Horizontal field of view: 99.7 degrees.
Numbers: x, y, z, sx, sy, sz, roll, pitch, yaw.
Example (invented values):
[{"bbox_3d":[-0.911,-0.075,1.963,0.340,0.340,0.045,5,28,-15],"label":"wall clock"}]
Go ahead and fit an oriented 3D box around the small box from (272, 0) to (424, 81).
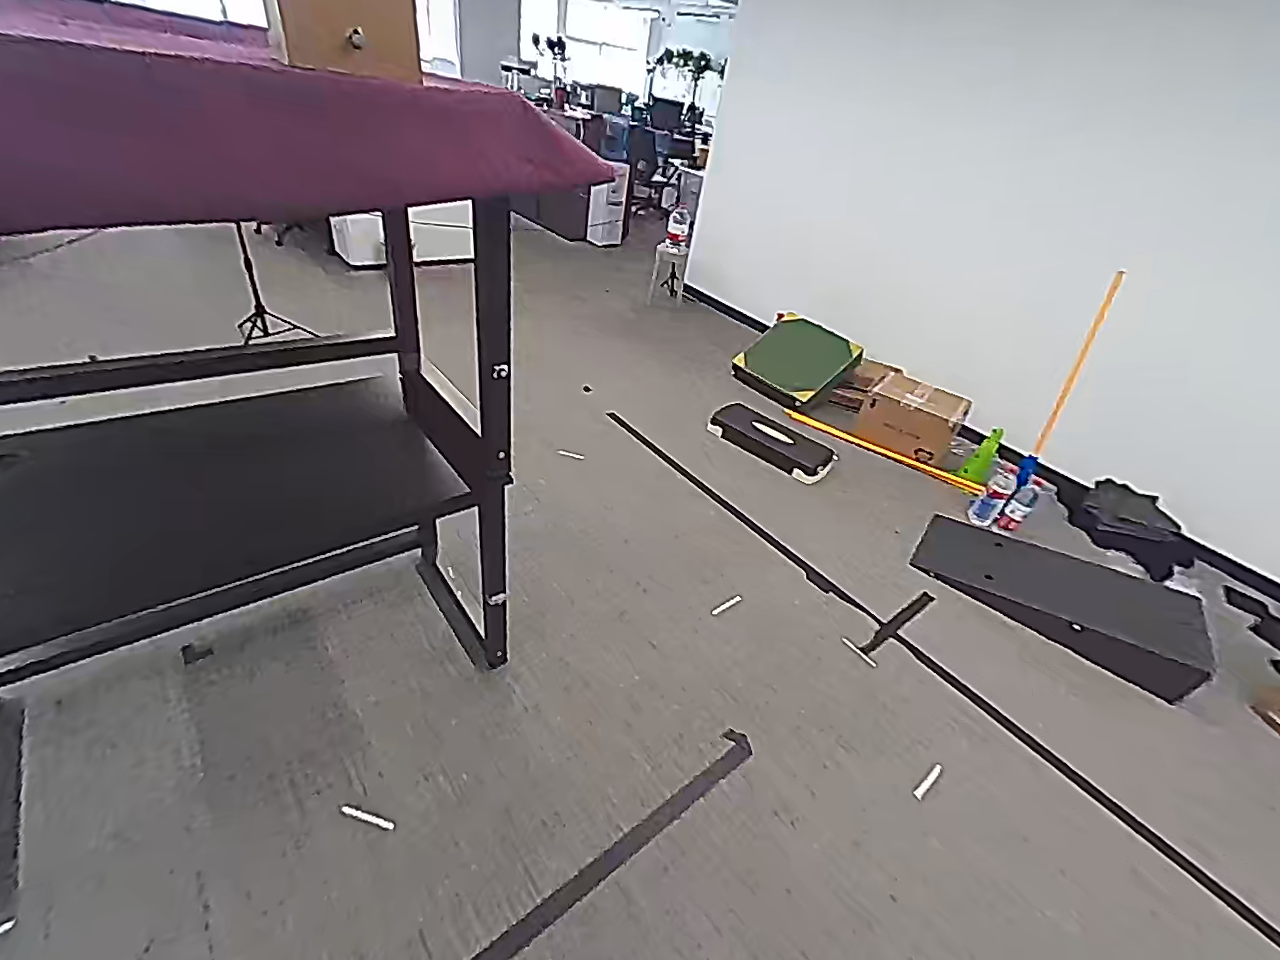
[{"bbox_3d":[-0.414,-0.678,0.762,0.179,0.176,0.168,-16,42,-31],"label":"small box"}]
